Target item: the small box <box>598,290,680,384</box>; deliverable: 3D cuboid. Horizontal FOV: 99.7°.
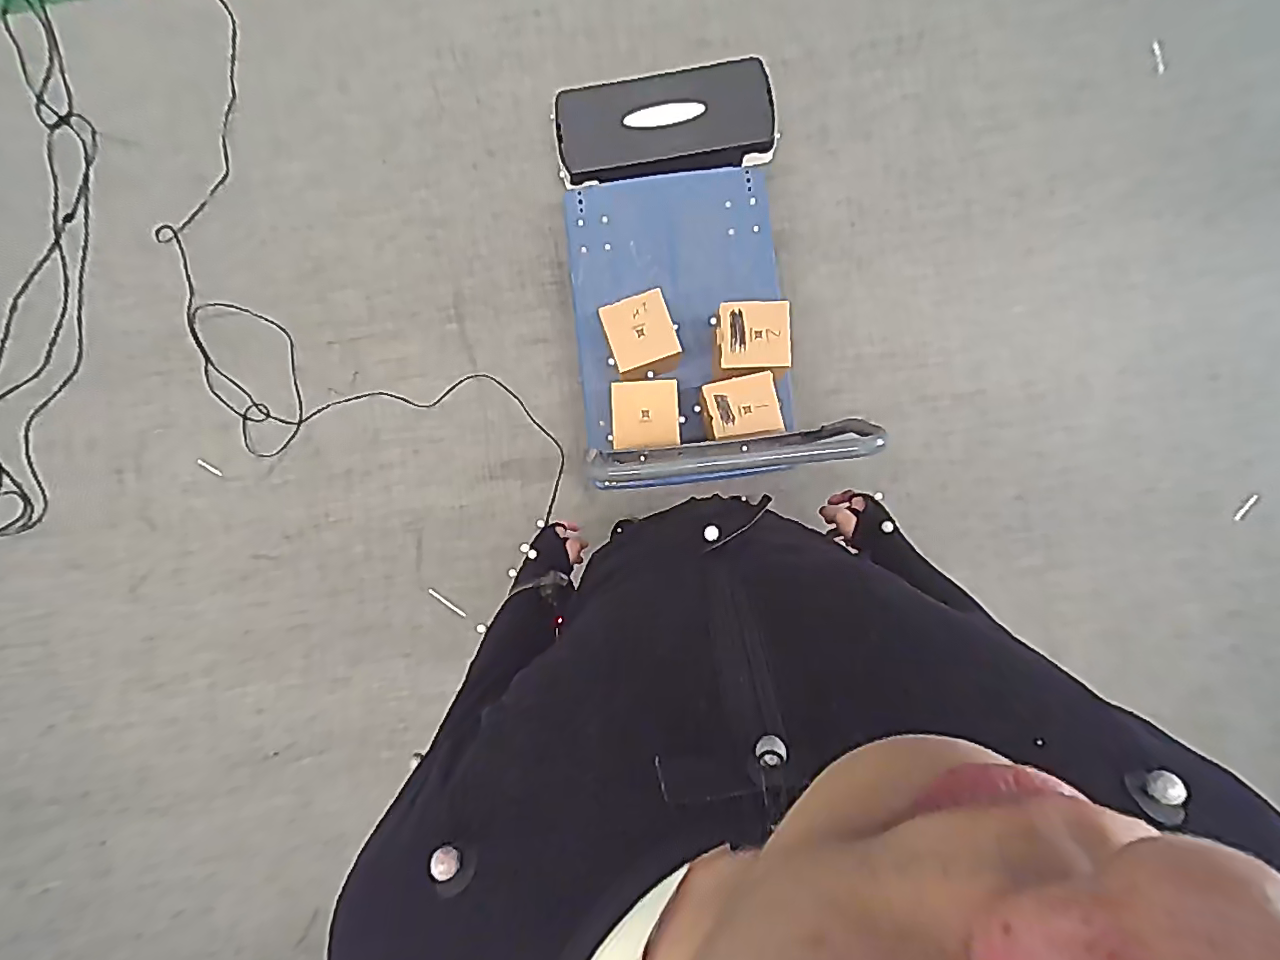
[{"bbox_3d":[0.000,-0.362,1.417,0.168,0.176,0.179,-19,86,-1],"label":"small box"}]
